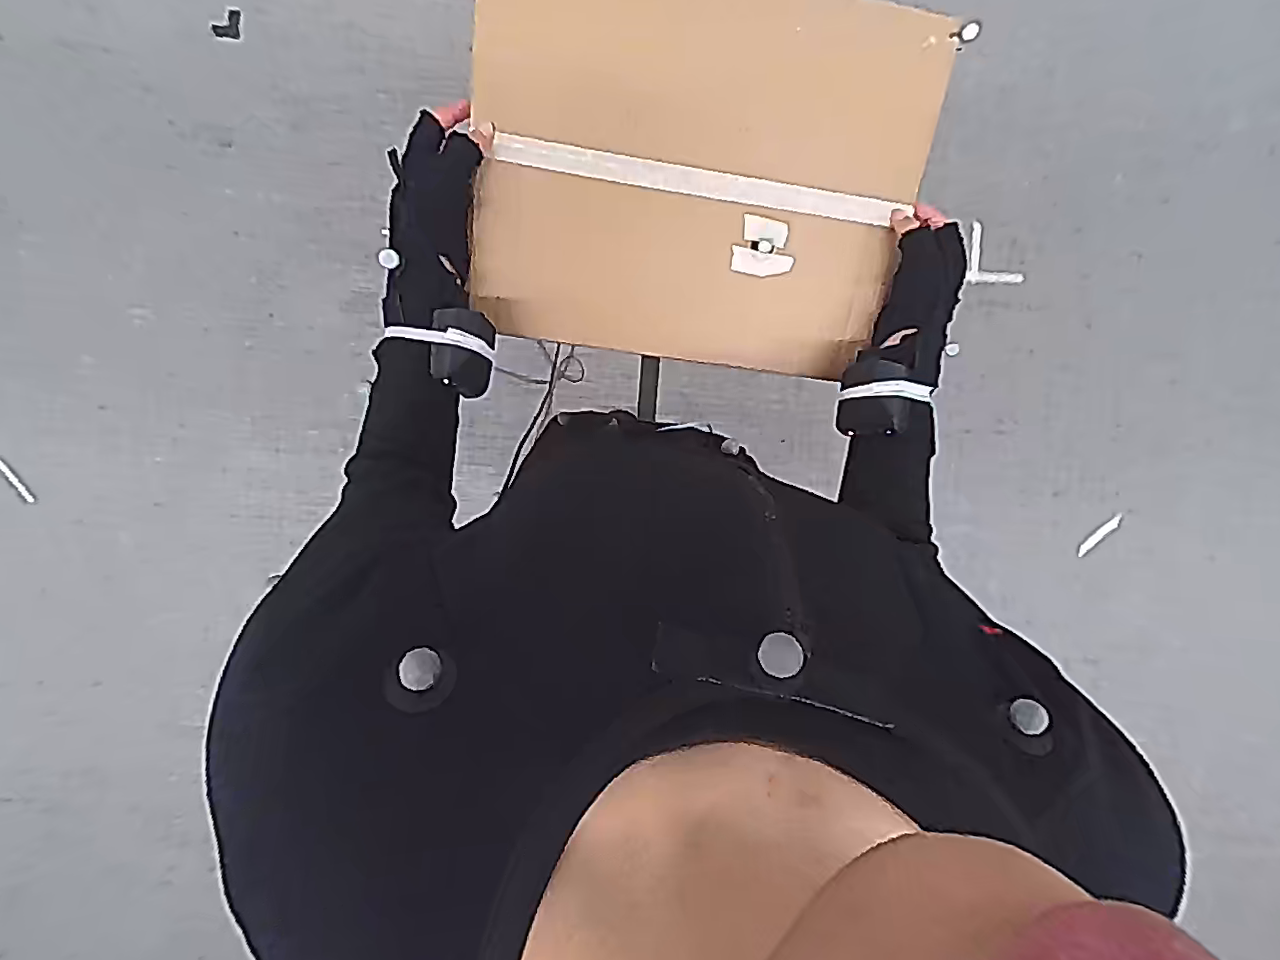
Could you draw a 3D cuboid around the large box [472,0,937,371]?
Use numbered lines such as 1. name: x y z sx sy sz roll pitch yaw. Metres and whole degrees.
1. large box: 0.036 -0.324 0.641 0.408 0.320 0.320 6 110 -7
